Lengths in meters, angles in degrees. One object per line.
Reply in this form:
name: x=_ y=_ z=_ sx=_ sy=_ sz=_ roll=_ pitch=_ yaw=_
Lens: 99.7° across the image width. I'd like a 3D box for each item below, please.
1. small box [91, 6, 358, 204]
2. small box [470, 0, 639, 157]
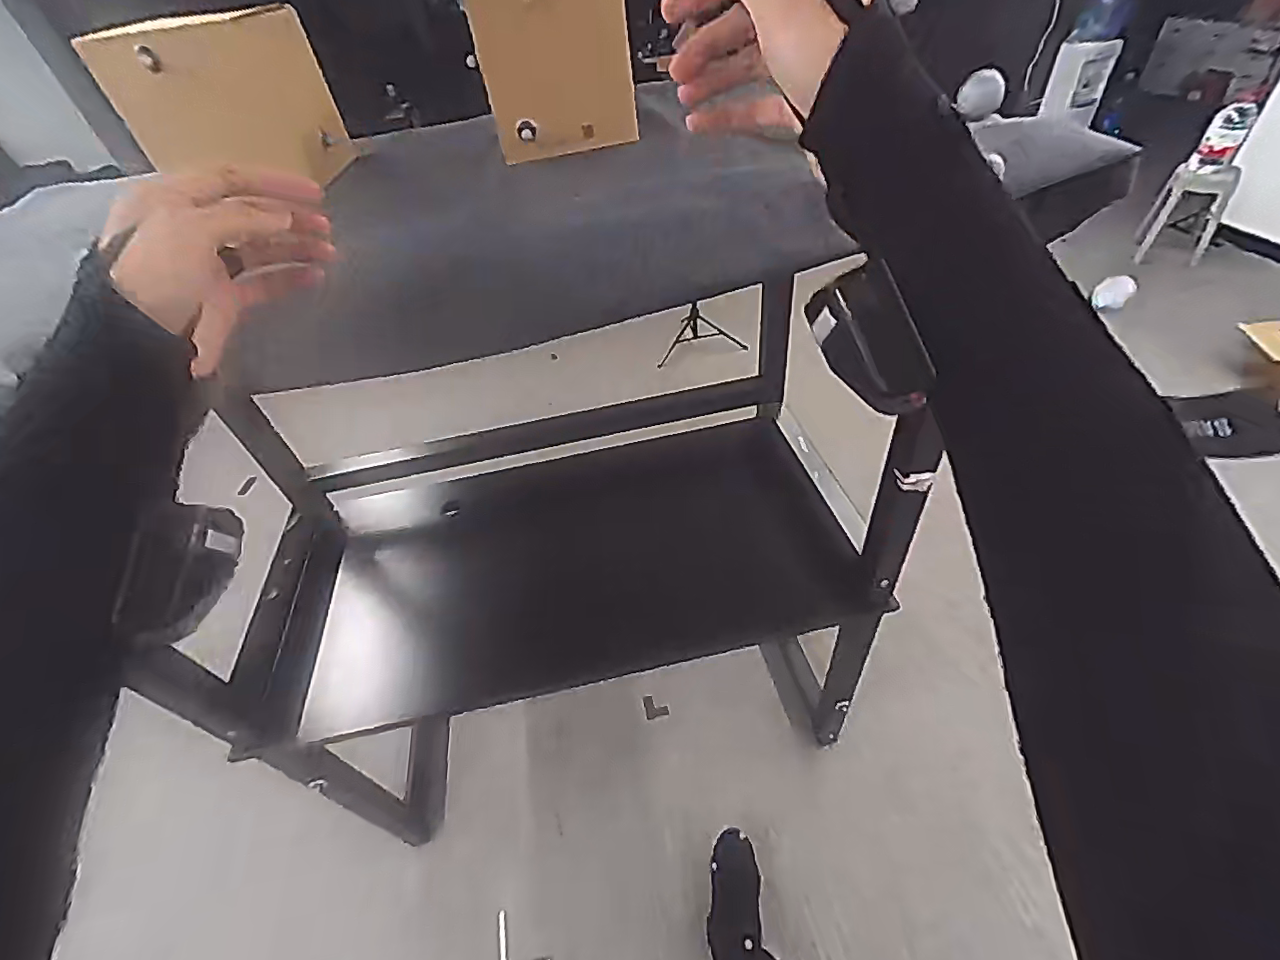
small box: x=-0.476 y=-0.456 z=0.661 sx=0.168 sy=0.176 sz=0.179 roll=-8 pitch=44 yaw=0
small box: x=-0.102 y=-0.512 z=0.661 sx=0.168 sy=0.176 sz=0.179 roll=-13 pitch=43 yaw=-5
